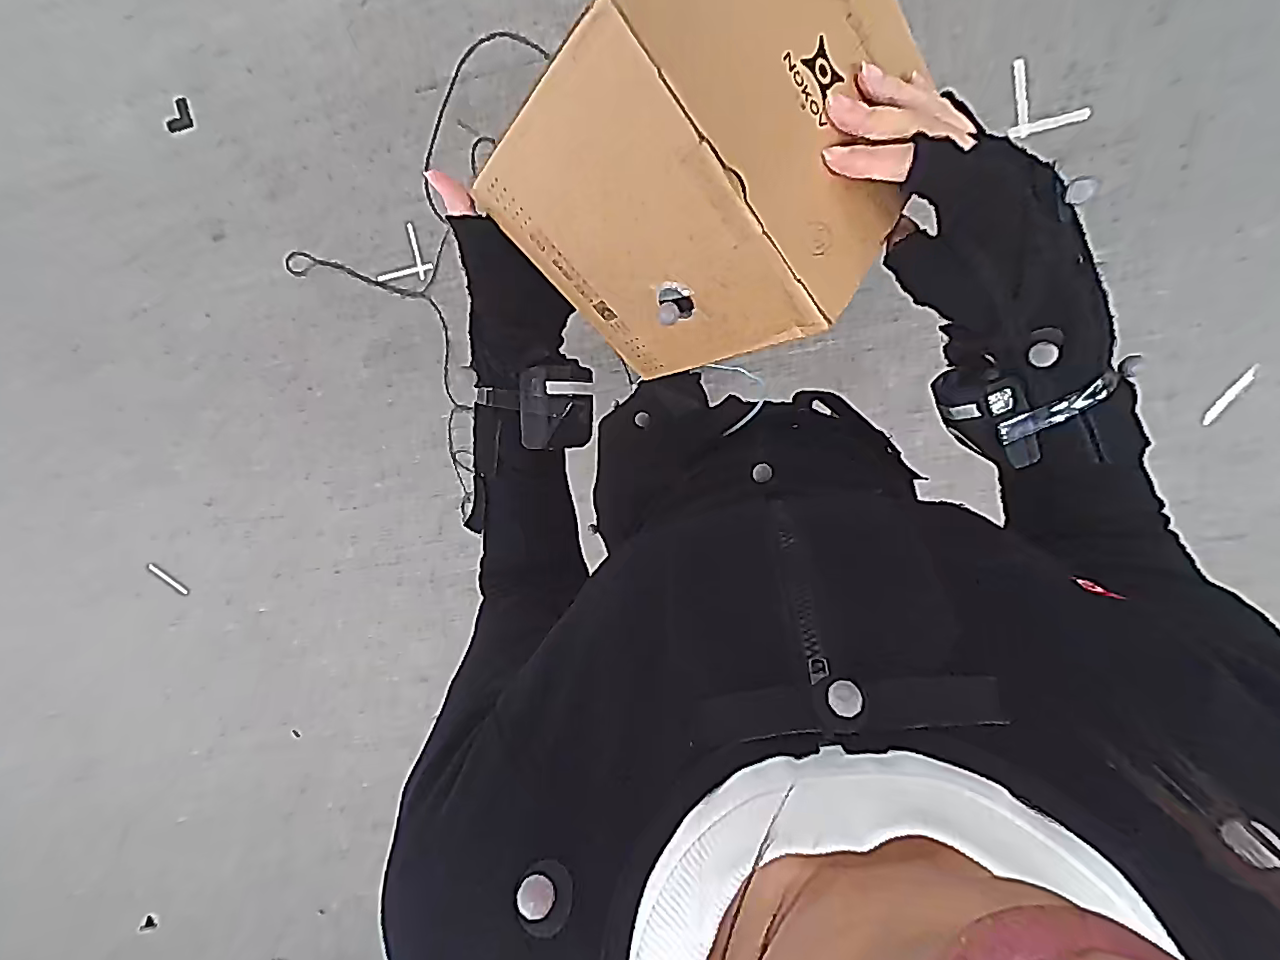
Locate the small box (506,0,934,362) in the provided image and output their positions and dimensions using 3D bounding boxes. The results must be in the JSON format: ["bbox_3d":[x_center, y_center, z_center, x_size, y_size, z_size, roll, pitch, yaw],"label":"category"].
[{"bbox_3d":[0.039,-0.198,0.338,0.168,0.176,0.179,43,69,-26],"label":"small box"}]
